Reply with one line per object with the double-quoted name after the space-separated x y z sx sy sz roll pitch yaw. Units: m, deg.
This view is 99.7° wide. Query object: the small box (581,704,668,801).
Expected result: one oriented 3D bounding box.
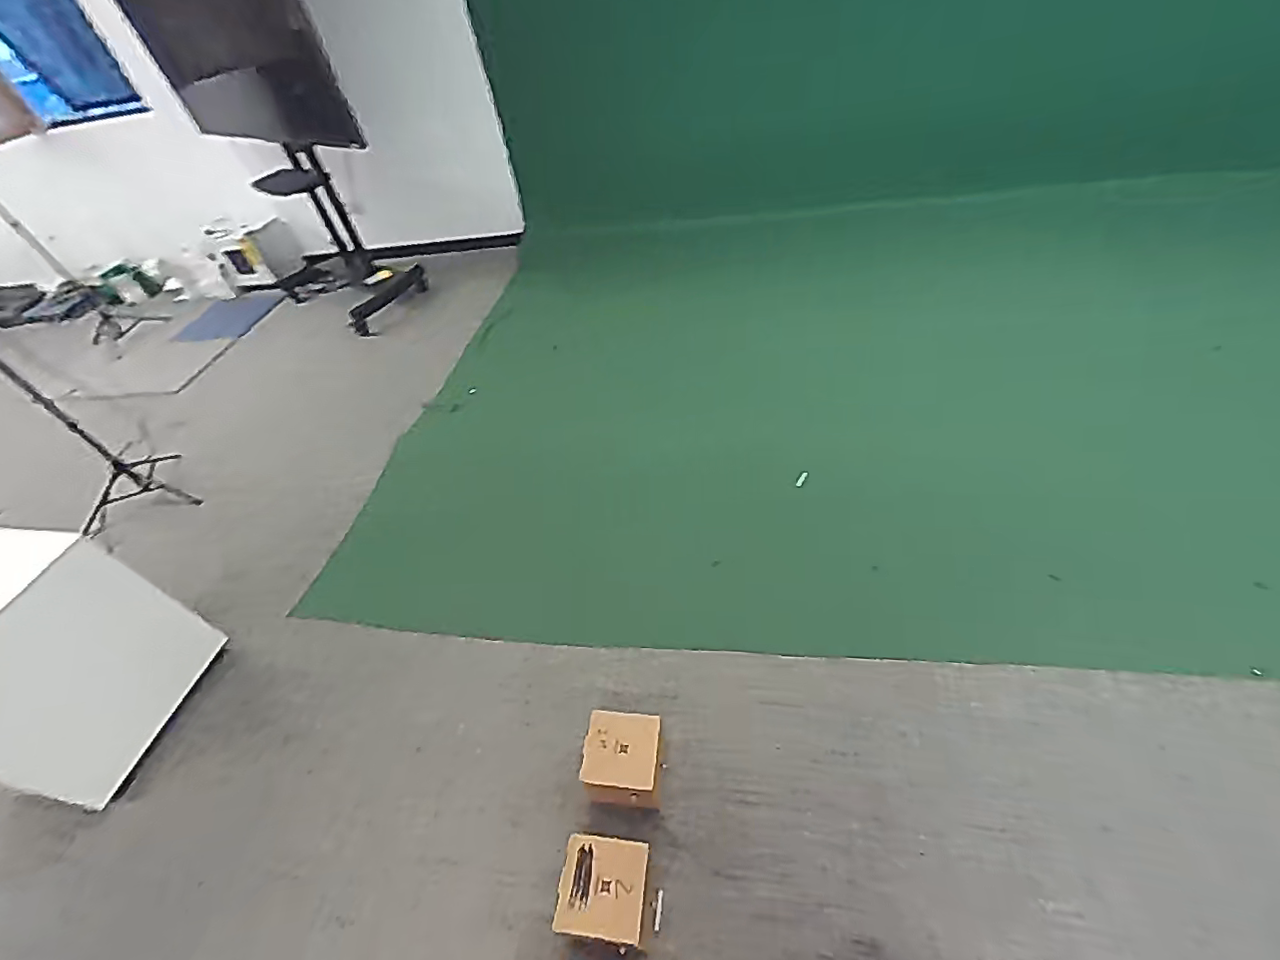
-0.029 0.672 1.329 0.179 0.176 0.168 0 46 11 "small box"
